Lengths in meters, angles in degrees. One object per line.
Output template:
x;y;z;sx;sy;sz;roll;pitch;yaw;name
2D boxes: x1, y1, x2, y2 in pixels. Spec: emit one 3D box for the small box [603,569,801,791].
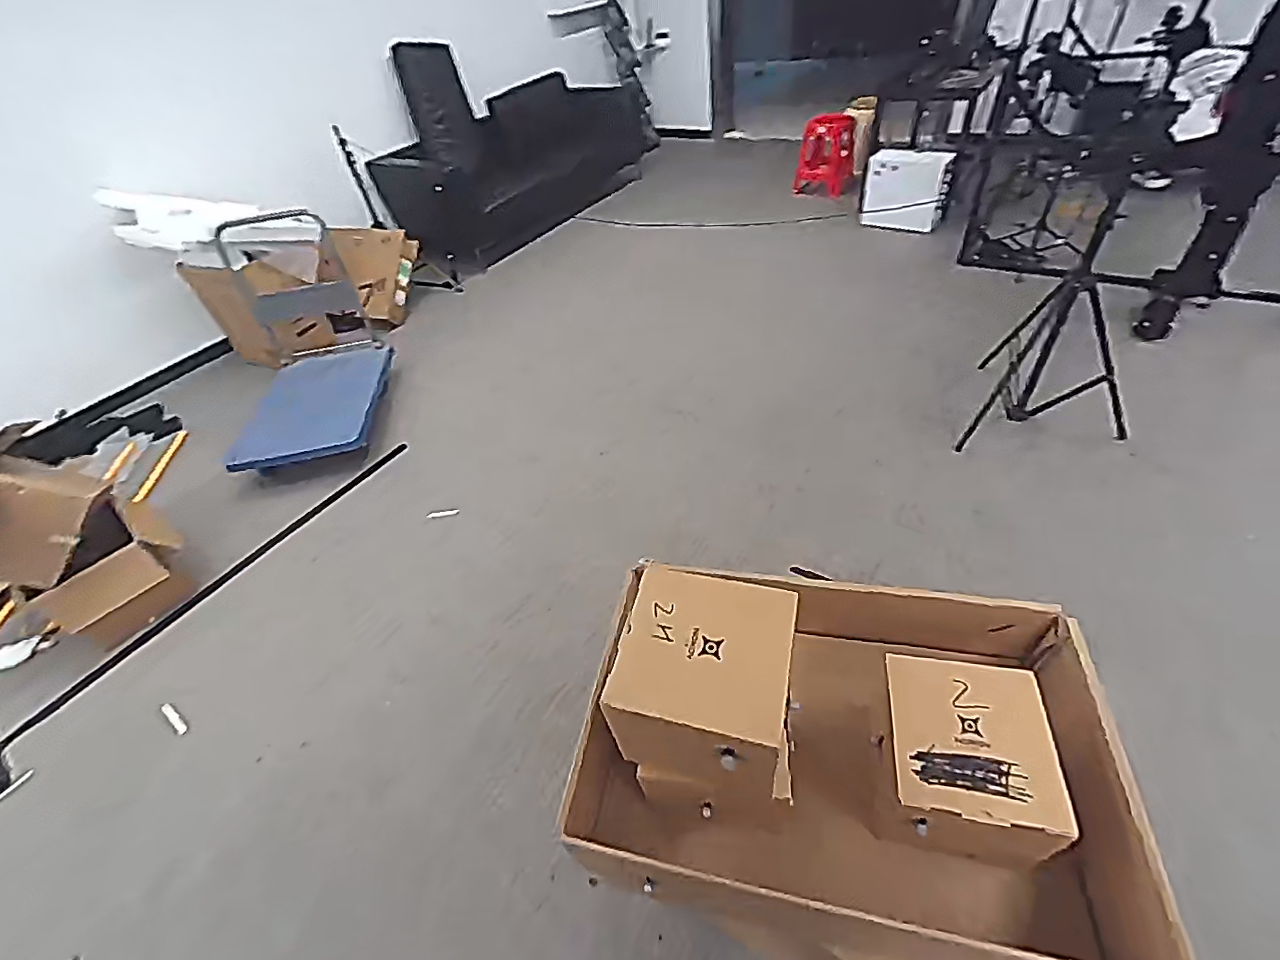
0.078;0.227;0.611;0.179;0.176;0.168;7;47;17;small box
